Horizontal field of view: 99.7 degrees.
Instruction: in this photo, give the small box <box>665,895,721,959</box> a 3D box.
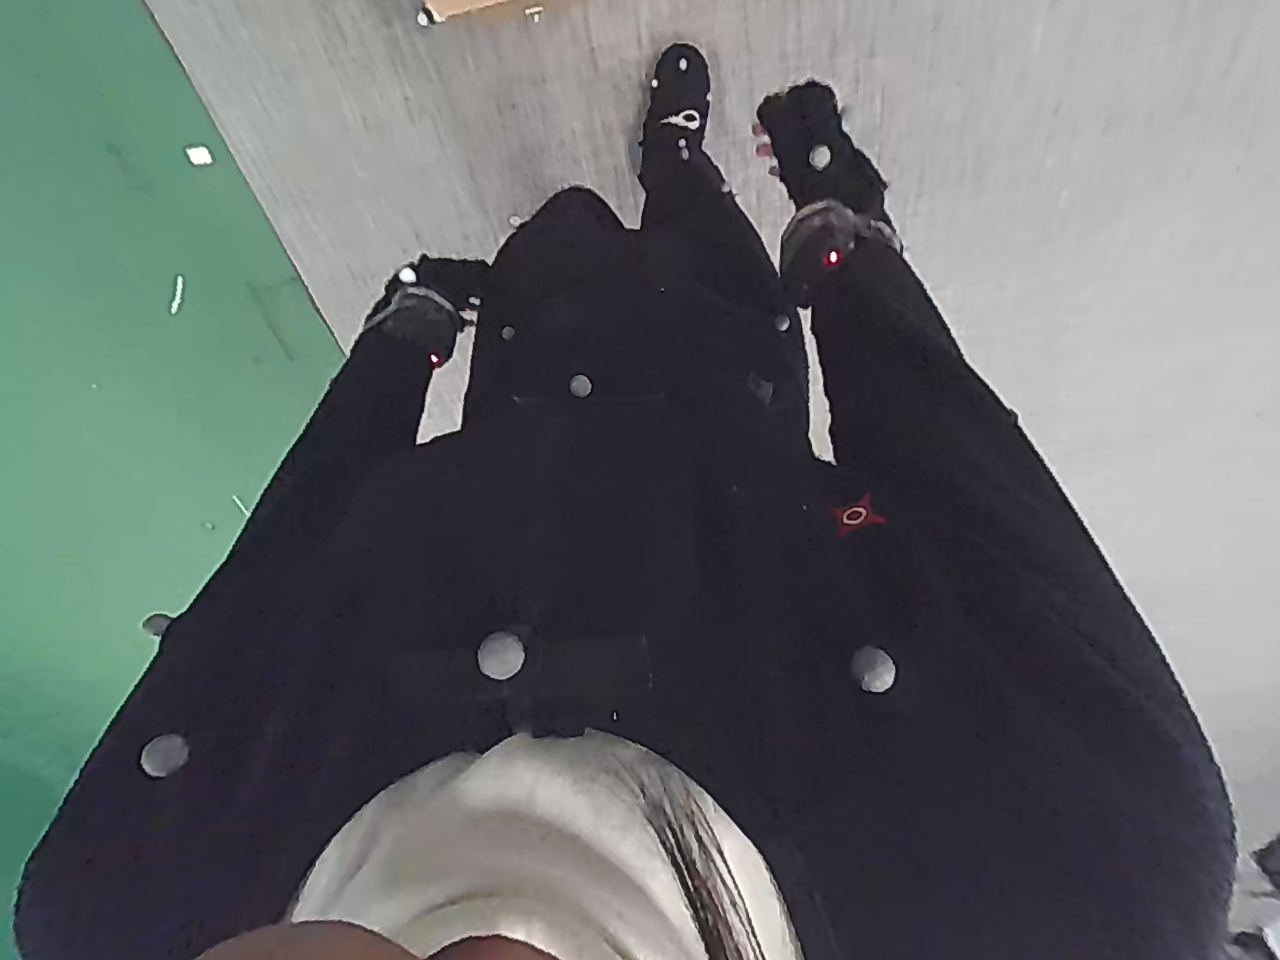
[{"bbox_3d":[0.184,1.570,1.883,0.179,0.176,0.168,-7,127,10],"label":"small box"}]
